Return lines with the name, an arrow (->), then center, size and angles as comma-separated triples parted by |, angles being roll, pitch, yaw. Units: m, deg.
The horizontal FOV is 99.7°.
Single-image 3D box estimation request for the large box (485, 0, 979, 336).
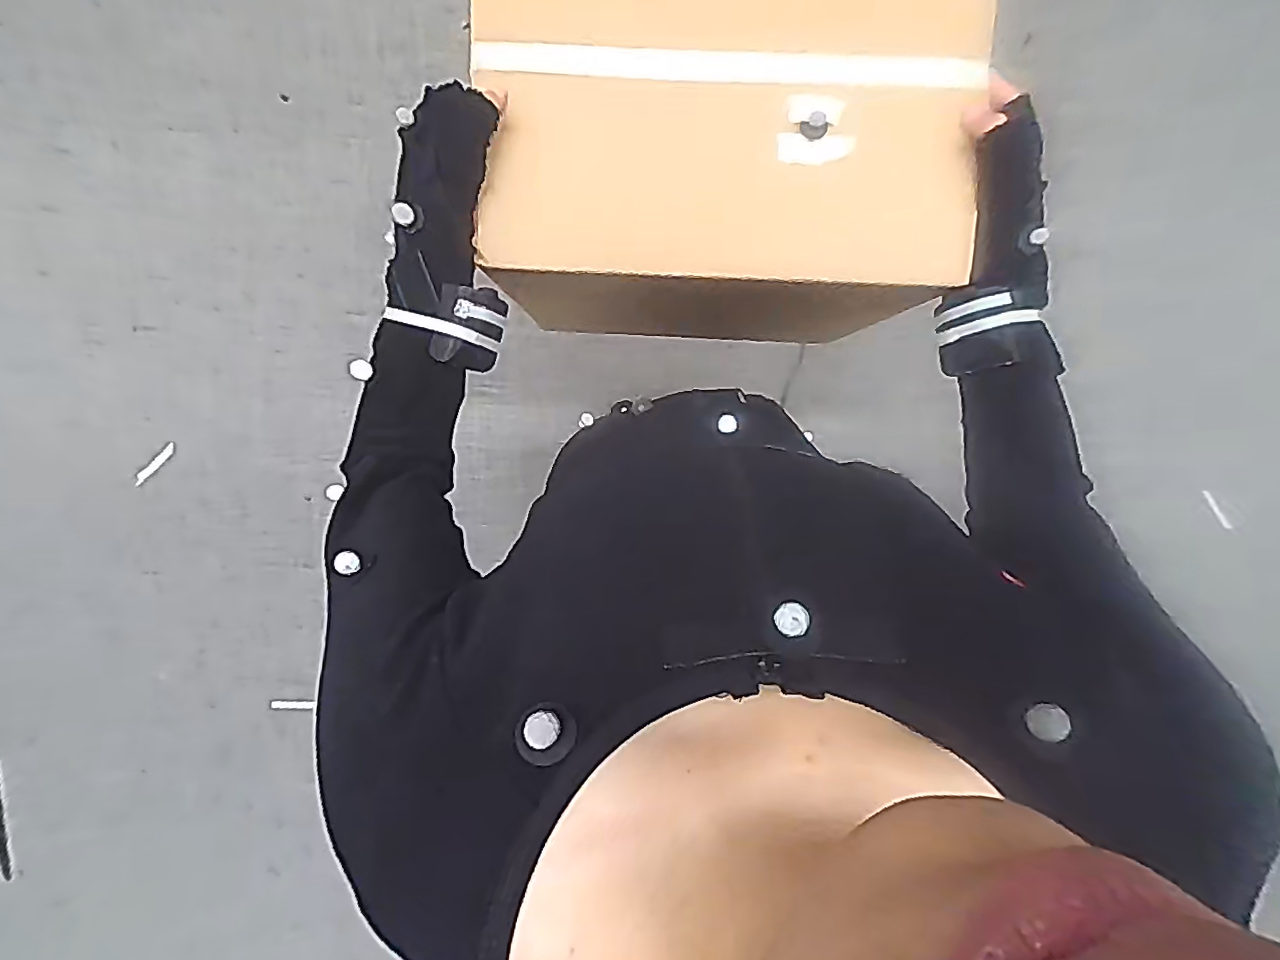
large box -> 0.069, -0.342, 0.587 | 0.408, 0.320, 0.320 | 2, 96, -1
